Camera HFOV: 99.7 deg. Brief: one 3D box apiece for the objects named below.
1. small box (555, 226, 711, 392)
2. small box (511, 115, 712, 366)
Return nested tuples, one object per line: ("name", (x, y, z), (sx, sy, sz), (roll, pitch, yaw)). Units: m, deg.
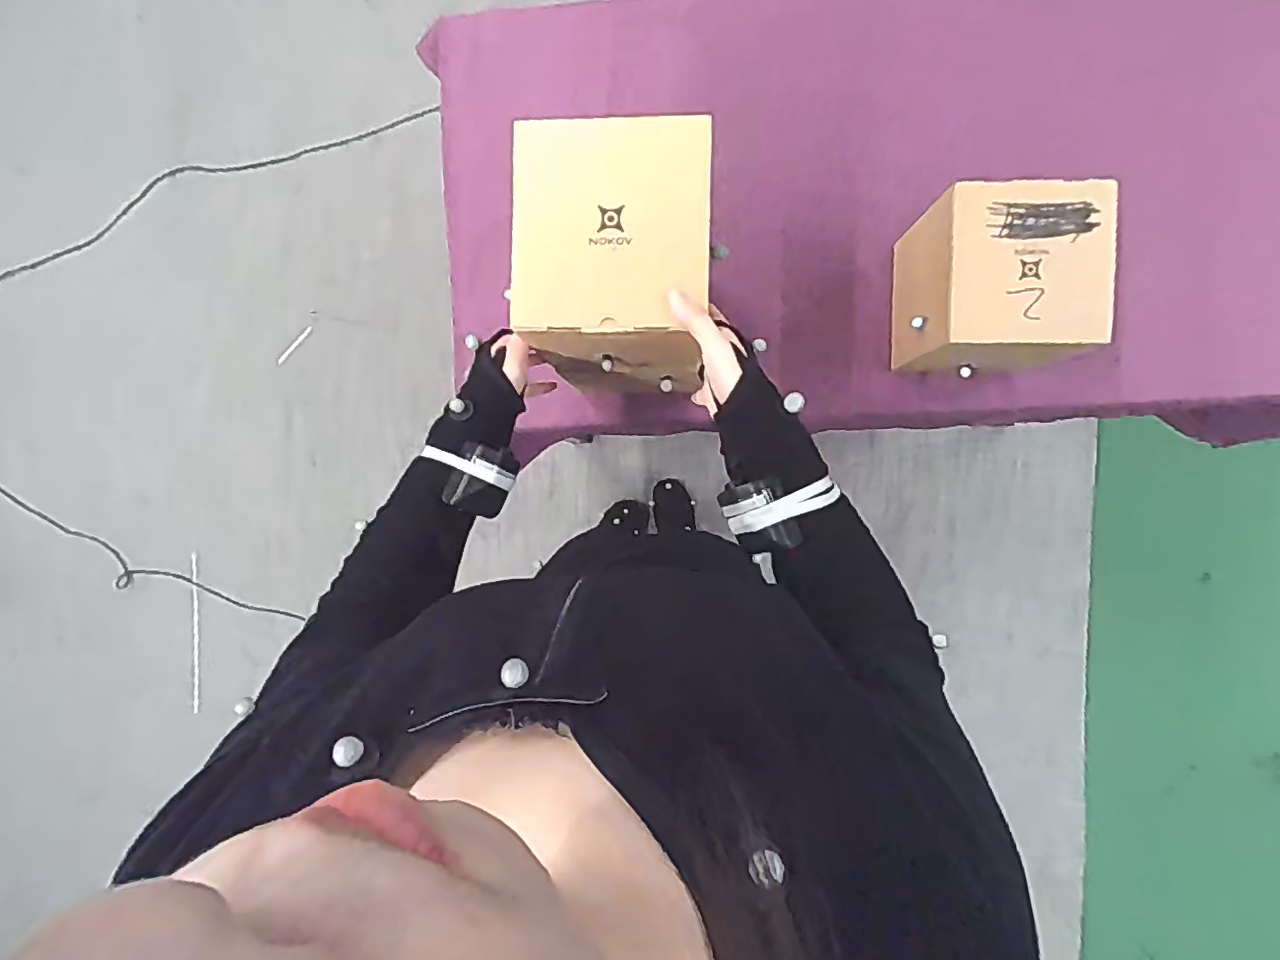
("small box", (-0.003, -0.208, 0.688), (0.179, 0.176, 0.168), (0, 90, 6))
("small box", (-0.020, -0.214, 0.526), (0.168, 0.176, 0.179), (1, 92, 5))
